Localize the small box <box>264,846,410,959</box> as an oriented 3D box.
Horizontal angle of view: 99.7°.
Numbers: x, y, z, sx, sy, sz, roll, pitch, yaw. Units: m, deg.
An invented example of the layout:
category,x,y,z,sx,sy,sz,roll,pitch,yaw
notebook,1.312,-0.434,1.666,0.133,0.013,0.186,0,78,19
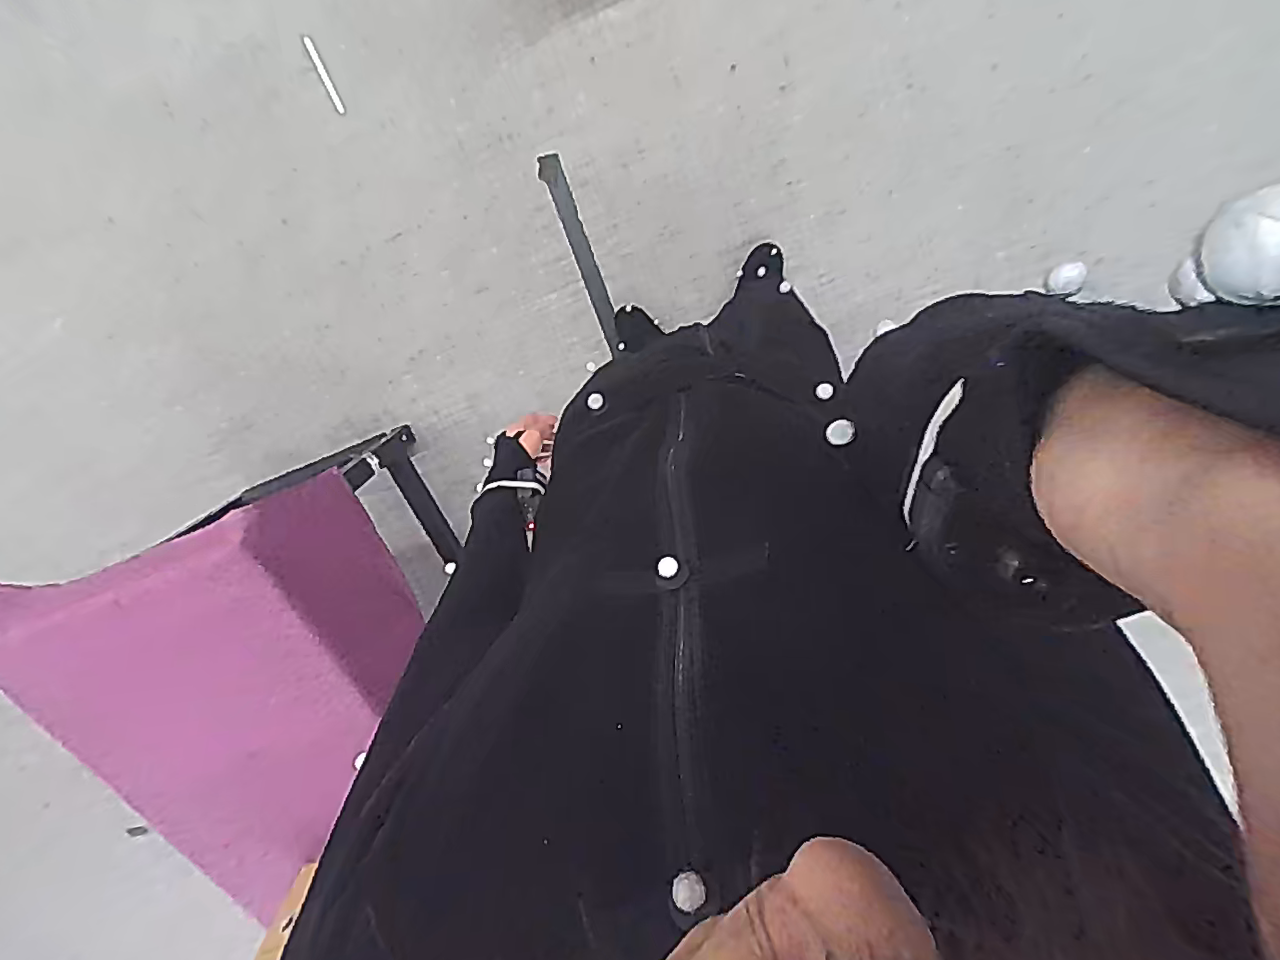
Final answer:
category,x,y,z,sx,sy,sz,roll,pitch,yaw
small box,-0.626,0.919,1.141,0.179,0.176,0.168,-20,112,7
